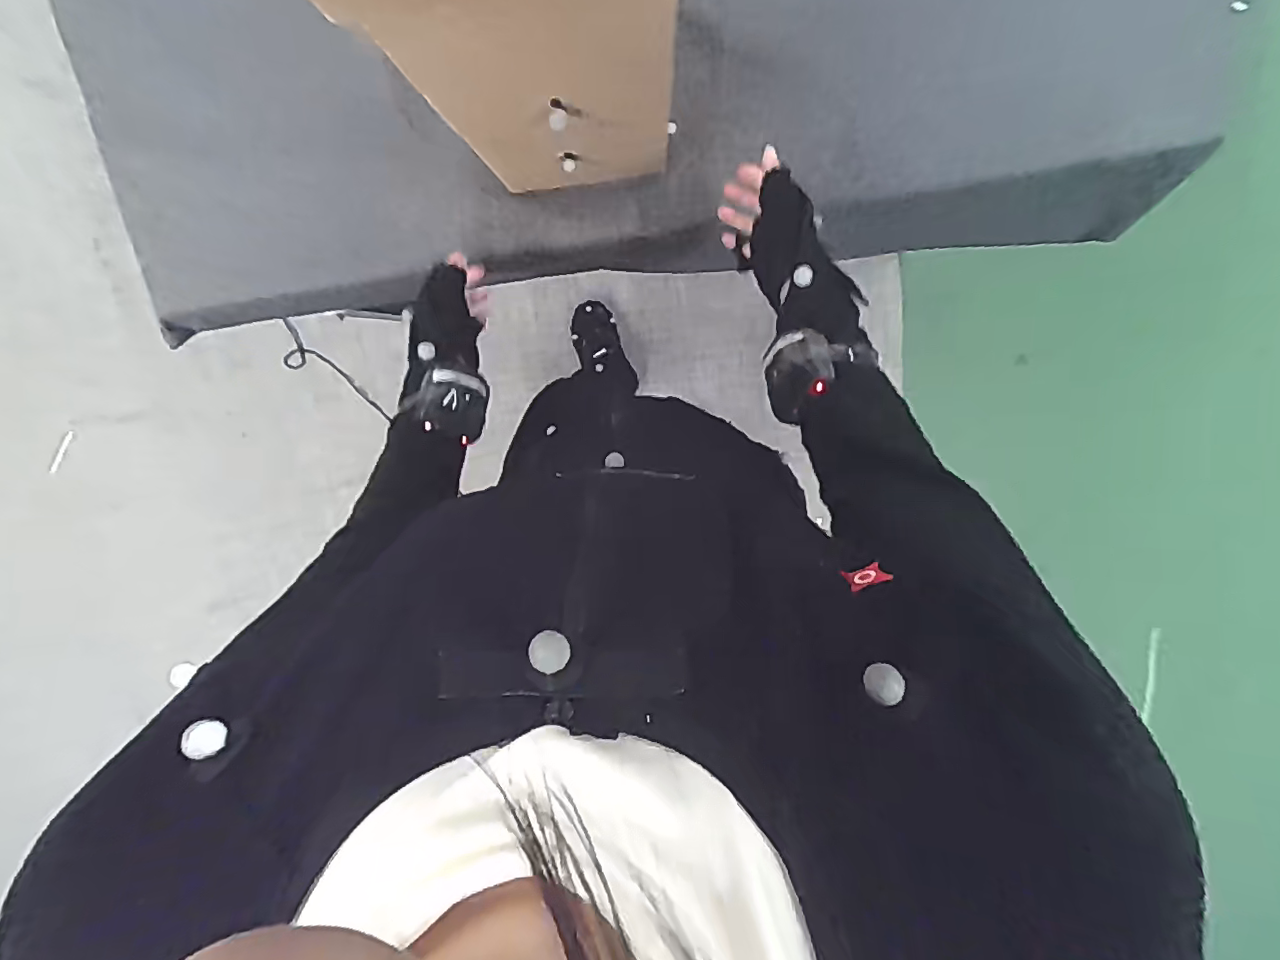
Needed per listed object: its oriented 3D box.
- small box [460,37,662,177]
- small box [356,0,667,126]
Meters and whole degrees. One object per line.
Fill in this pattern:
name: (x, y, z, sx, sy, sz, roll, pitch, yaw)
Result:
small box: (-0.073, -0.402, 0.504, 0.179, 0.176, 0.168, -3, 102, 2)
small box: (-0.078, -0.358, 0.350, 0.179, 0.176, 0.168, -5, 103, 3)
